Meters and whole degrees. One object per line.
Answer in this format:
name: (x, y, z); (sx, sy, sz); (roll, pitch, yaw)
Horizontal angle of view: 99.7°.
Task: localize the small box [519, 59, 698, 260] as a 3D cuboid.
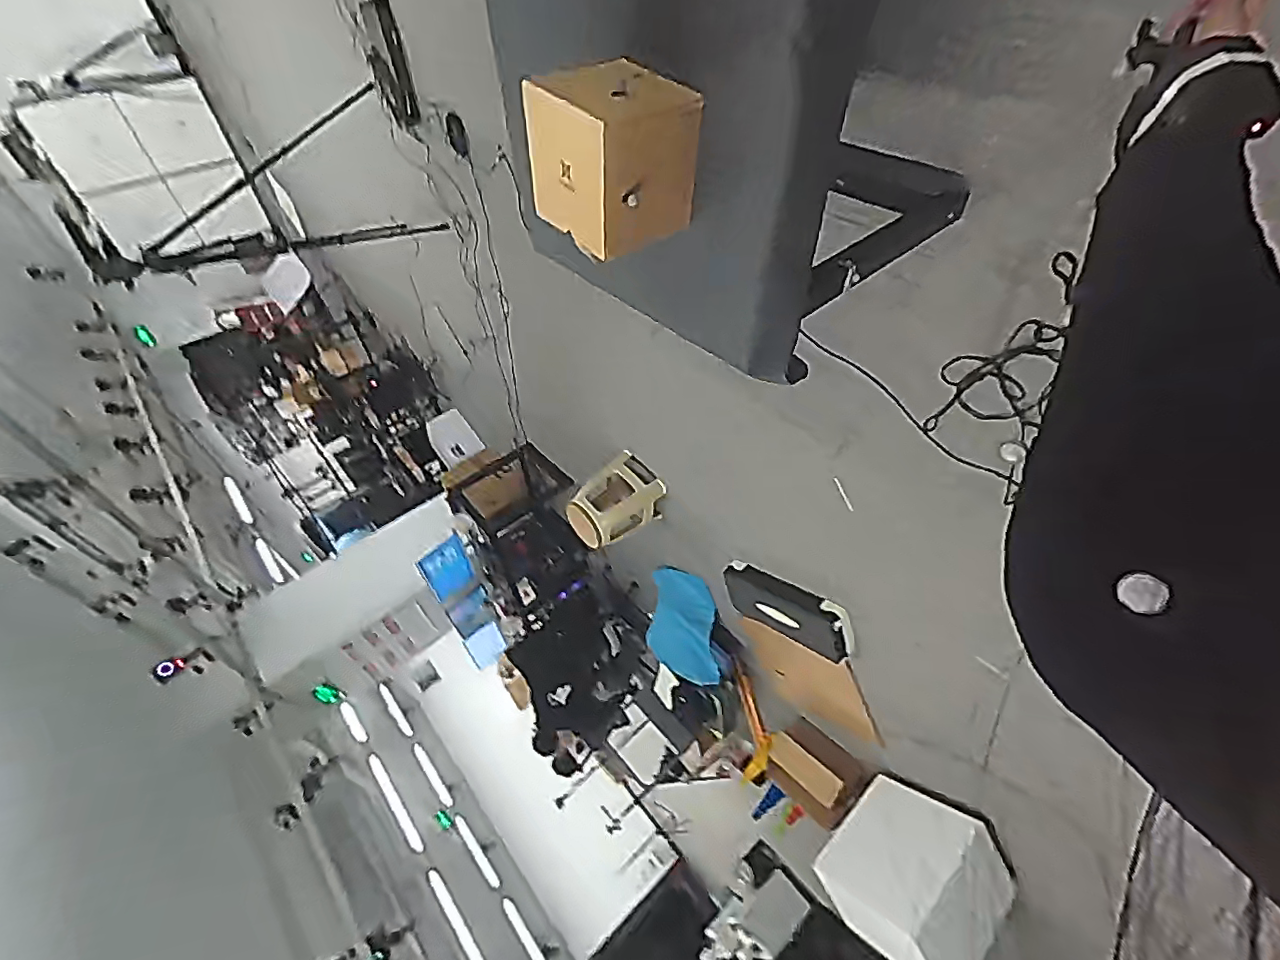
small box: (-0.040, -0.443, 0.740); (0.168, 0.176, 0.179); (42, 151, 25)
